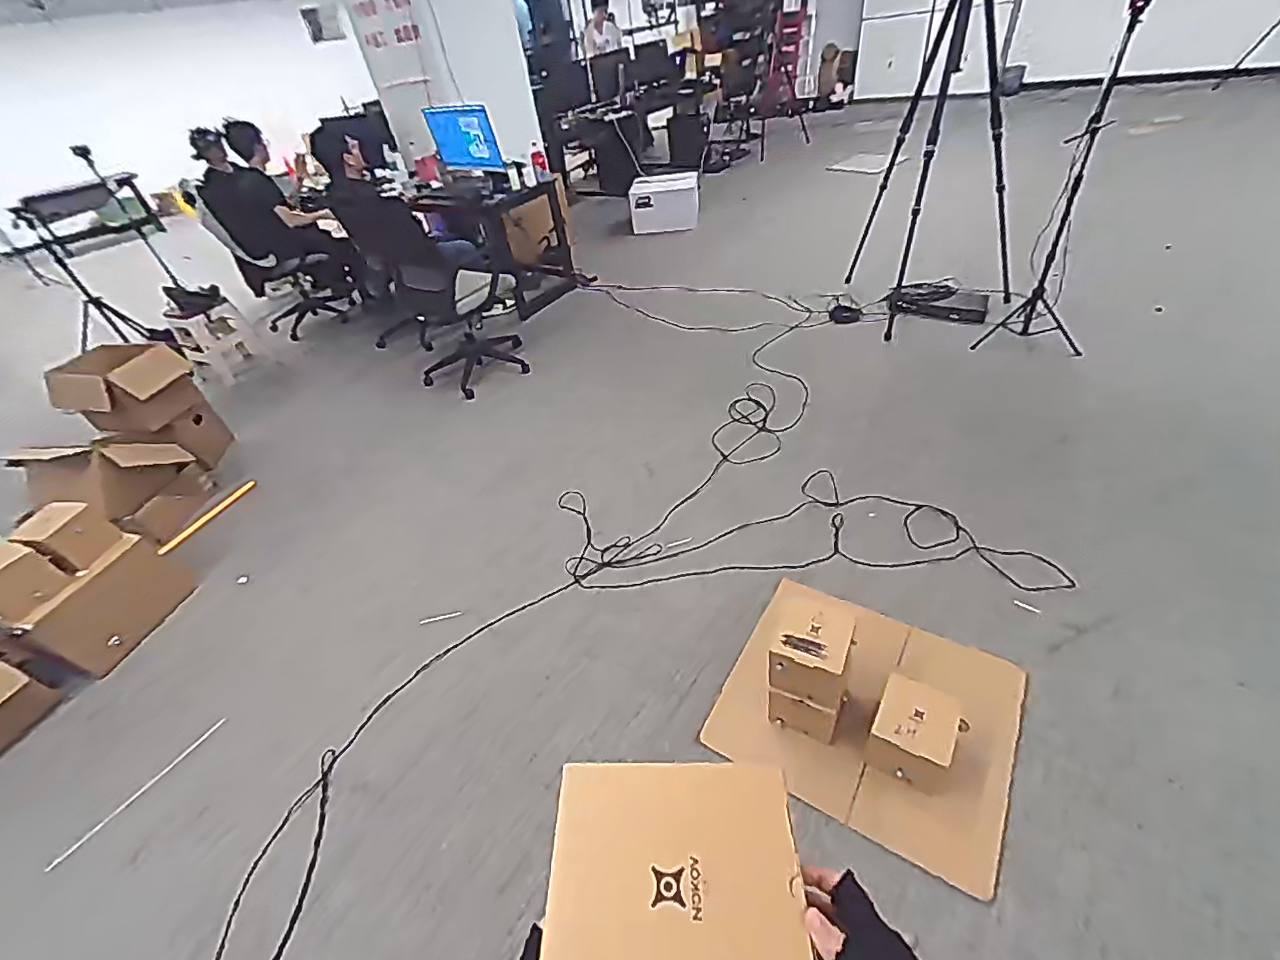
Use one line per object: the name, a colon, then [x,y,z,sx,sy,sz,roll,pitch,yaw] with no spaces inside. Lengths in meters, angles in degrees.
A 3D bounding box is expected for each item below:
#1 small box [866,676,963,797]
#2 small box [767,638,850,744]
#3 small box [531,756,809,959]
small box: [0.657,0.619,1.308,0.168,0.176,0.179,16,48,31]
small box: [0.444,0.556,1.424,0.168,0.176,0.179,14,46,27]
small box: [0.023,0.335,0.417,0.179,0.176,0.168,-1,39,2]
